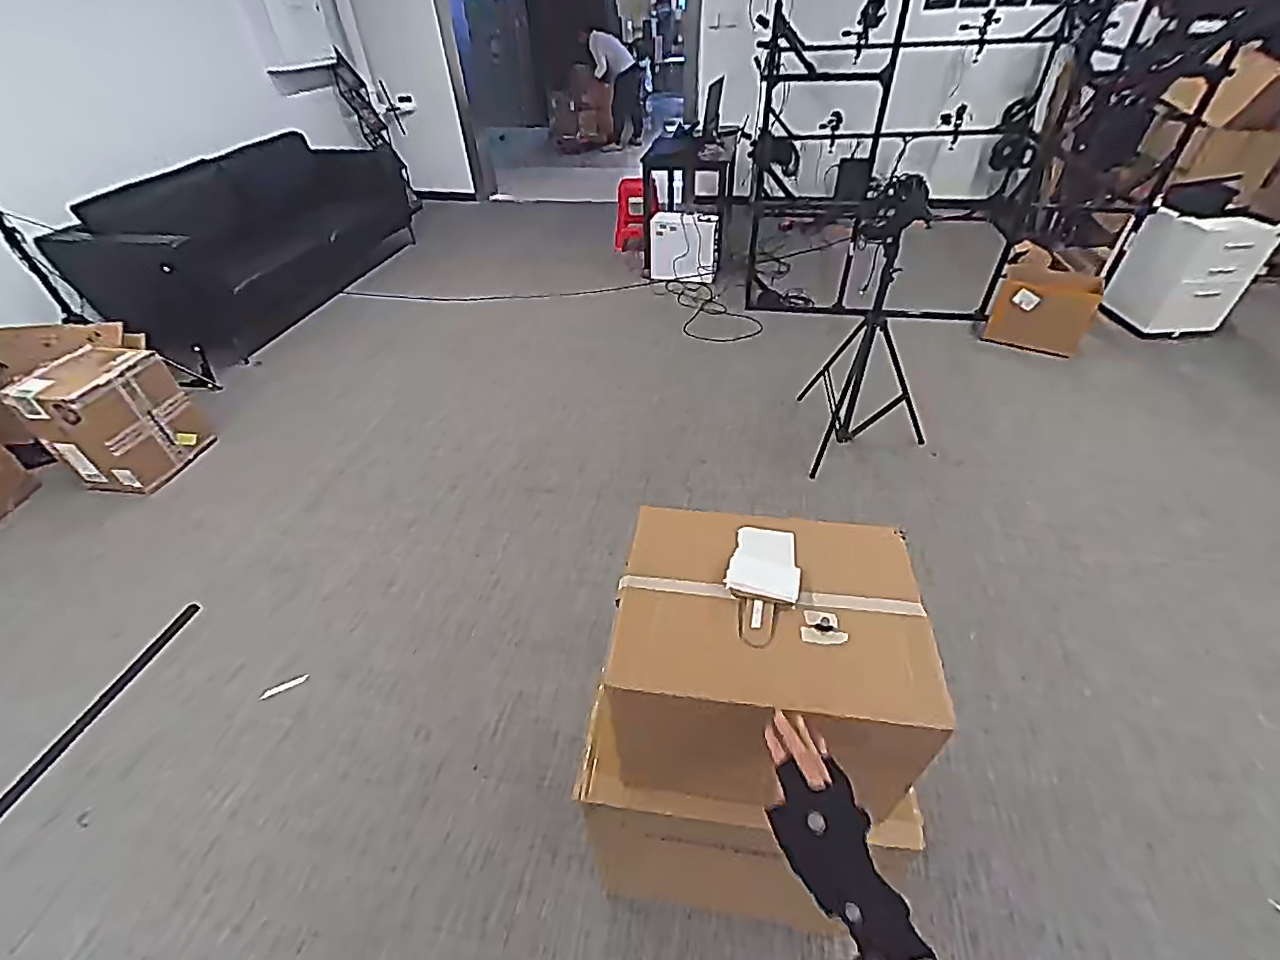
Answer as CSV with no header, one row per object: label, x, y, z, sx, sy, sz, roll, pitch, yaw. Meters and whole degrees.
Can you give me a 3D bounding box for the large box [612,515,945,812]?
large box,0.181,0.282,0.856,0.408,0.320,0.320,5,42,7
